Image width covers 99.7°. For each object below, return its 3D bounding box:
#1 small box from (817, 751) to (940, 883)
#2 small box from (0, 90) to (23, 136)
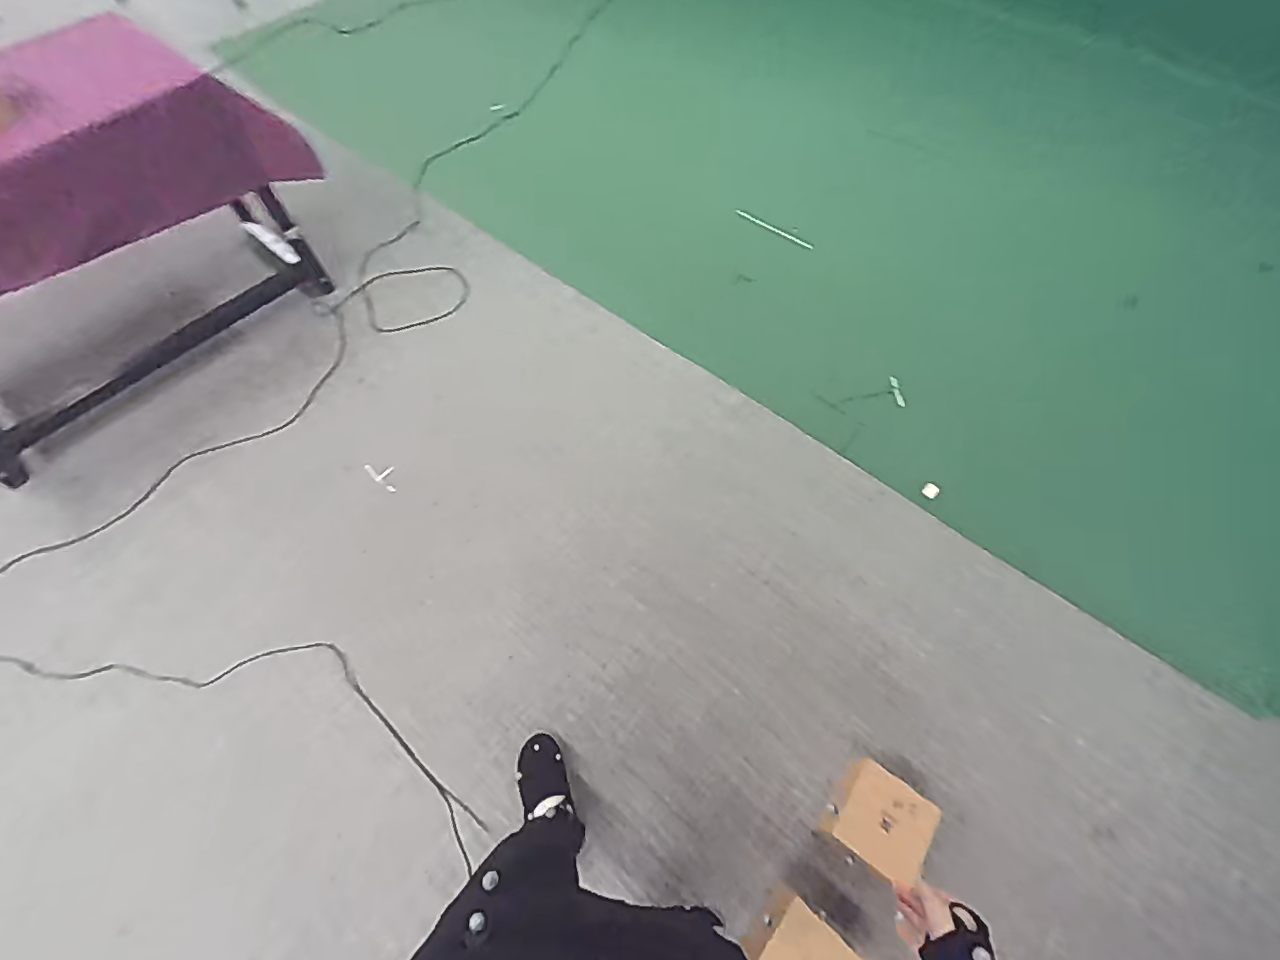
[{"bbox_3d":[0.505,0.722,1.173,0.168,0.176,0.179,33,66,18],"label":"small box"},{"bbox_3d":[-1.682,-0.946,1.317,0.168,0.176,0.179,39,69,21],"label":"small box"}]
